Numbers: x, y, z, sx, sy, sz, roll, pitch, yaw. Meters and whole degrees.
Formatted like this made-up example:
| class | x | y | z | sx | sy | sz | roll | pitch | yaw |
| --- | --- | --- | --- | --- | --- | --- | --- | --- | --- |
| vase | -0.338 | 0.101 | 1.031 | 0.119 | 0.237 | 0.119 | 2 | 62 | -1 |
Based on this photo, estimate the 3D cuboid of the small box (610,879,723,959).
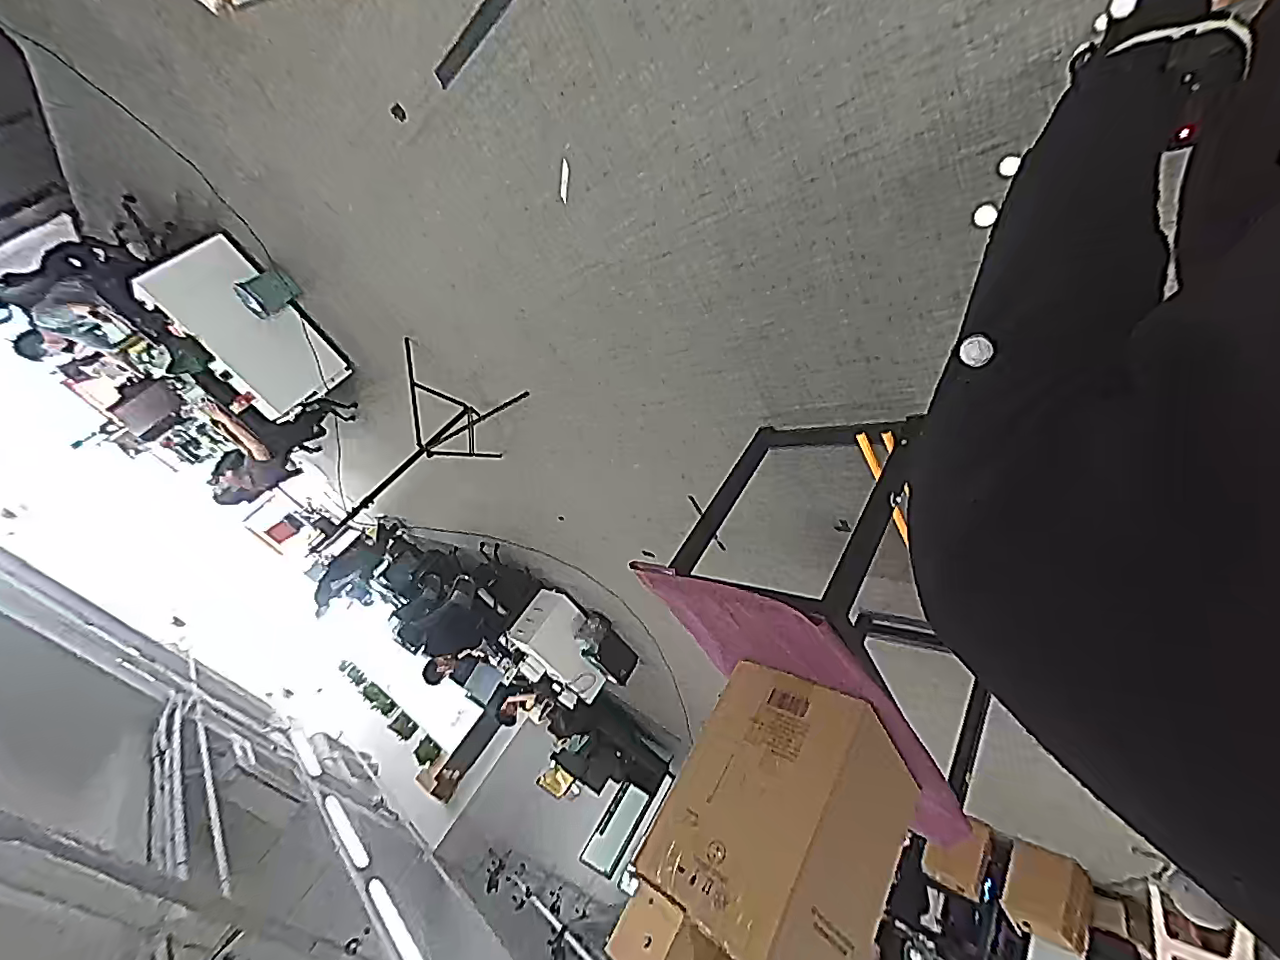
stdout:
| class | x | y | z | sx | sy | sz | roll | pitch | yaw |
| --- | --- | --- | --- | --- | --- | --- | --- | --- | --- |
| small box | 0.068 | 1.115 | 1.309 | 0.168 | 0.176 | 0.179 | -4 | 134 | 51 |
